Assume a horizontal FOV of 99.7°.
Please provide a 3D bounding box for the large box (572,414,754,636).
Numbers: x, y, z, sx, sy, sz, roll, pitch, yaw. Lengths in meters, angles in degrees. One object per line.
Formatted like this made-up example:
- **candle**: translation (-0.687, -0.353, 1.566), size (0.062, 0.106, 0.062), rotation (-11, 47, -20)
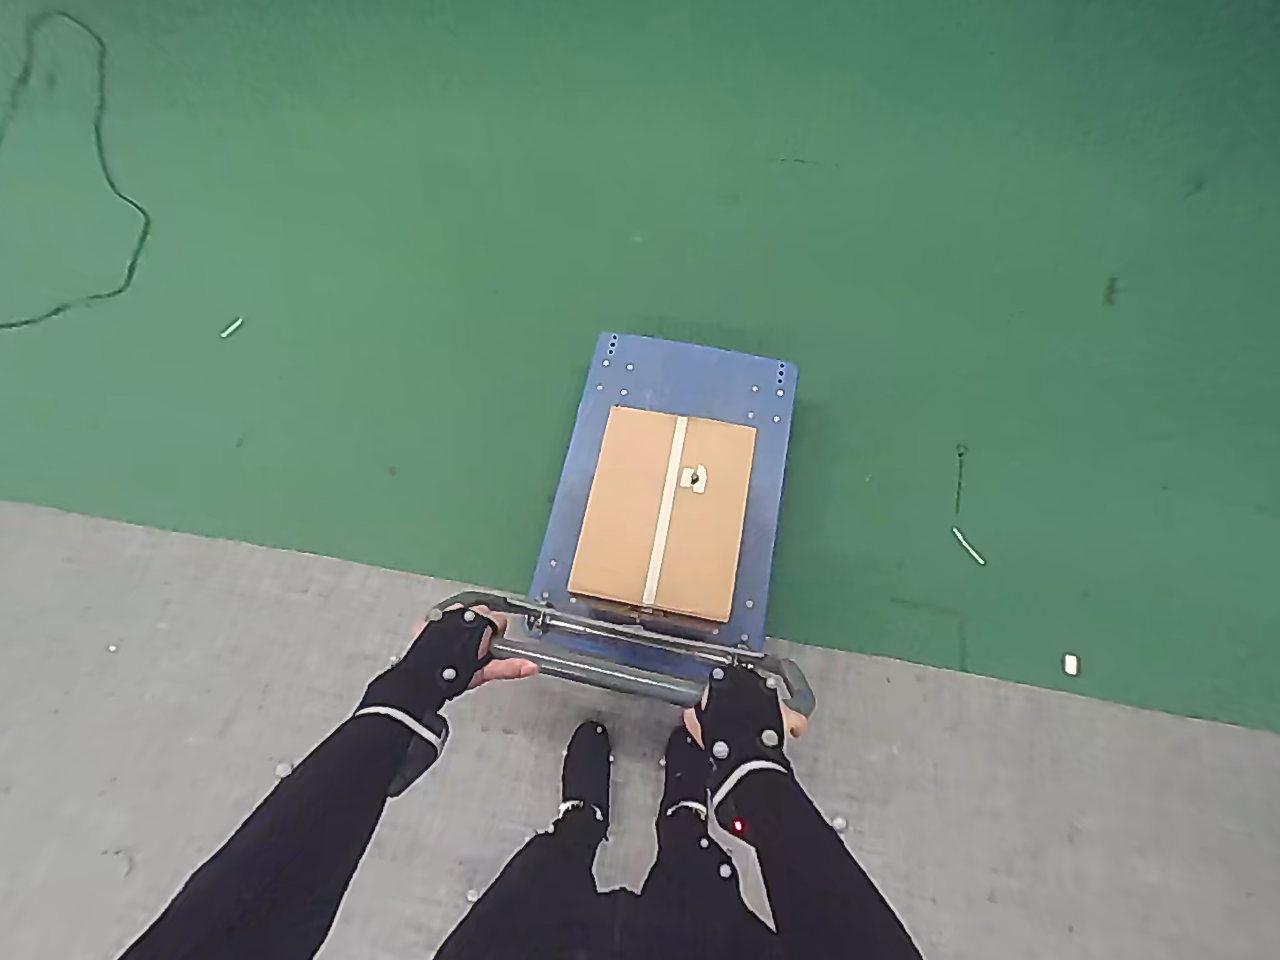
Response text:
- **large box**: translation (0.061, 0.115, 1.220), size (0.320, 0.320, 0.408), rotation (10, 71, 6)
